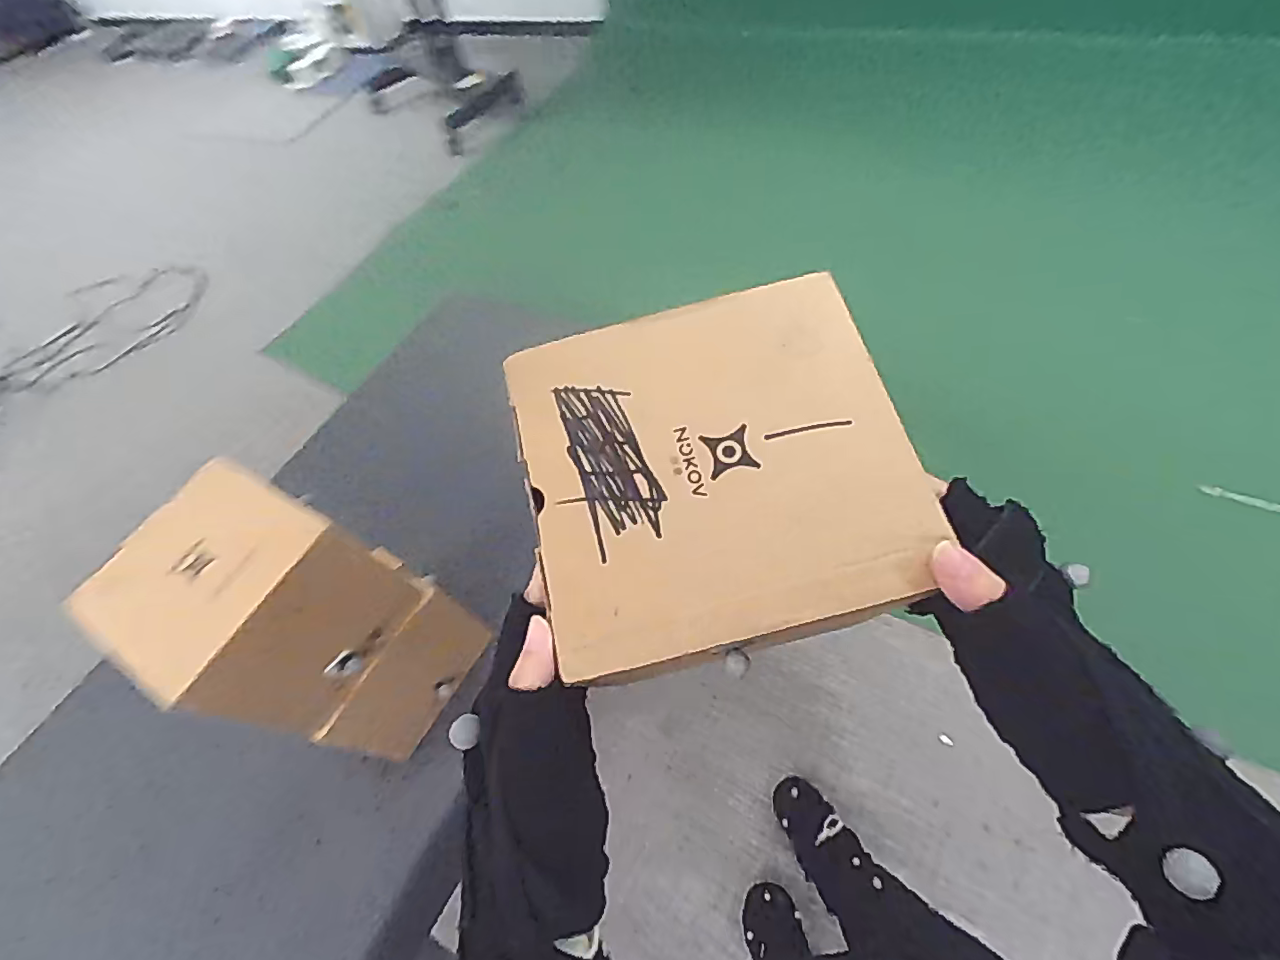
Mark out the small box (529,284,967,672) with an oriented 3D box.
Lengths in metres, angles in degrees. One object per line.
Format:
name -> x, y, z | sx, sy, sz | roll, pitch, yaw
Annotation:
small box -> 0.047, 0.017, 0.332 | 0.179, 0.176, 0.168 | -13, 69, 0

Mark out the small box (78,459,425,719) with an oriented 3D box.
small box -> -0.355, 0.112, 0.528 | 0.179, 0.176, 0.168 | 21, 66, 21

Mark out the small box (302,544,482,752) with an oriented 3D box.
small box -> -0.319, 0.200, 0.659 | 0.168, 0.176, 0.179 | 22, 63, 23
